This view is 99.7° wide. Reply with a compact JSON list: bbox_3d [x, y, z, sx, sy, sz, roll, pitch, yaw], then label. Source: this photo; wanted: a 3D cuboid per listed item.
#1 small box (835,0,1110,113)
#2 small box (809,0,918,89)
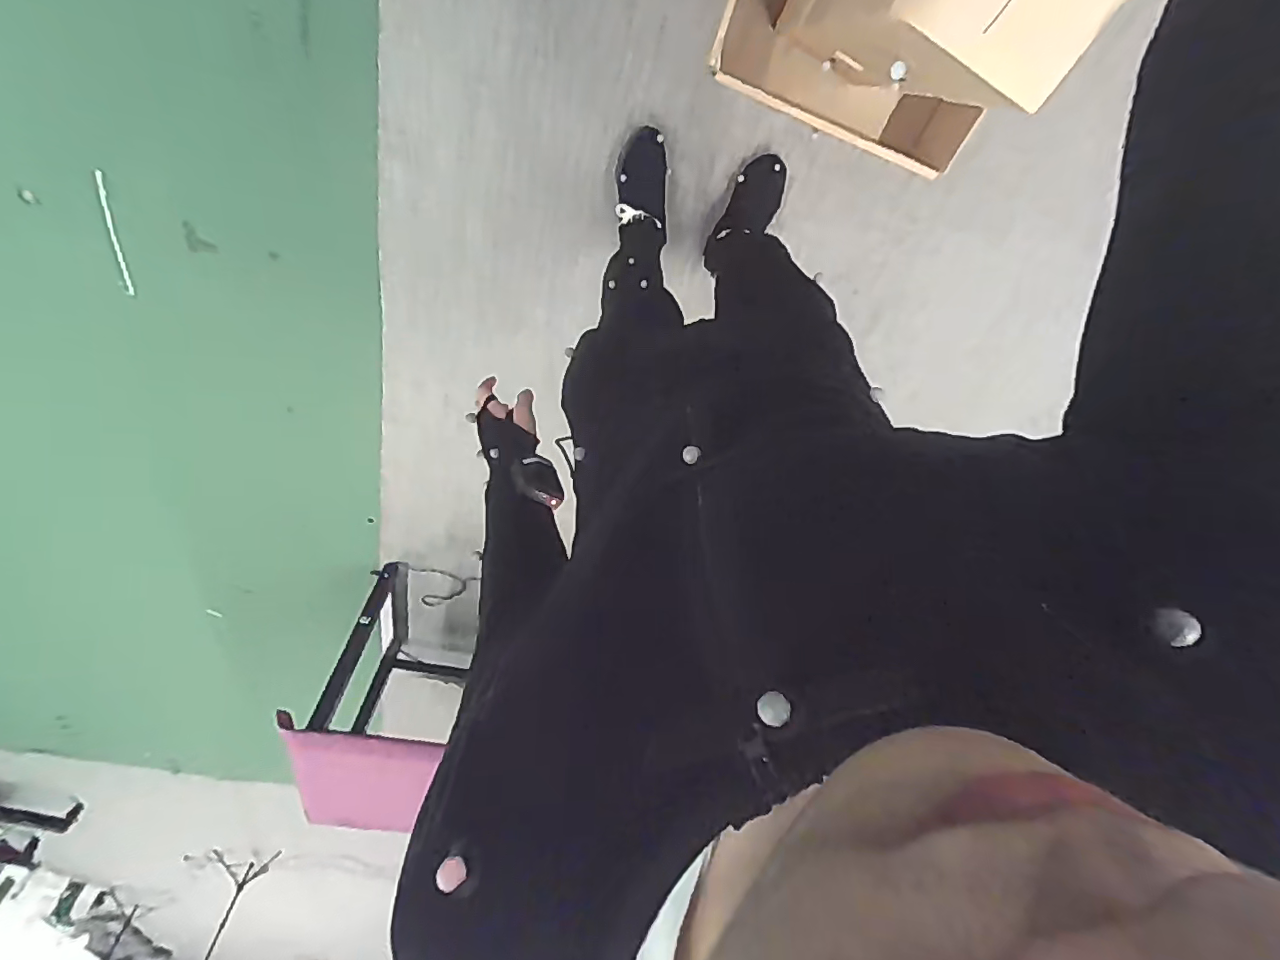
[{"bbox_3d":[0.301,-0.463,0.471,0.168,0.176,0.179,20,126,-16],"label":"small box"},{"bbox_3d":[0.309,-0.565,0.599,0.168,0.176,0.179,20,125,-16],"label":"small box"}]
